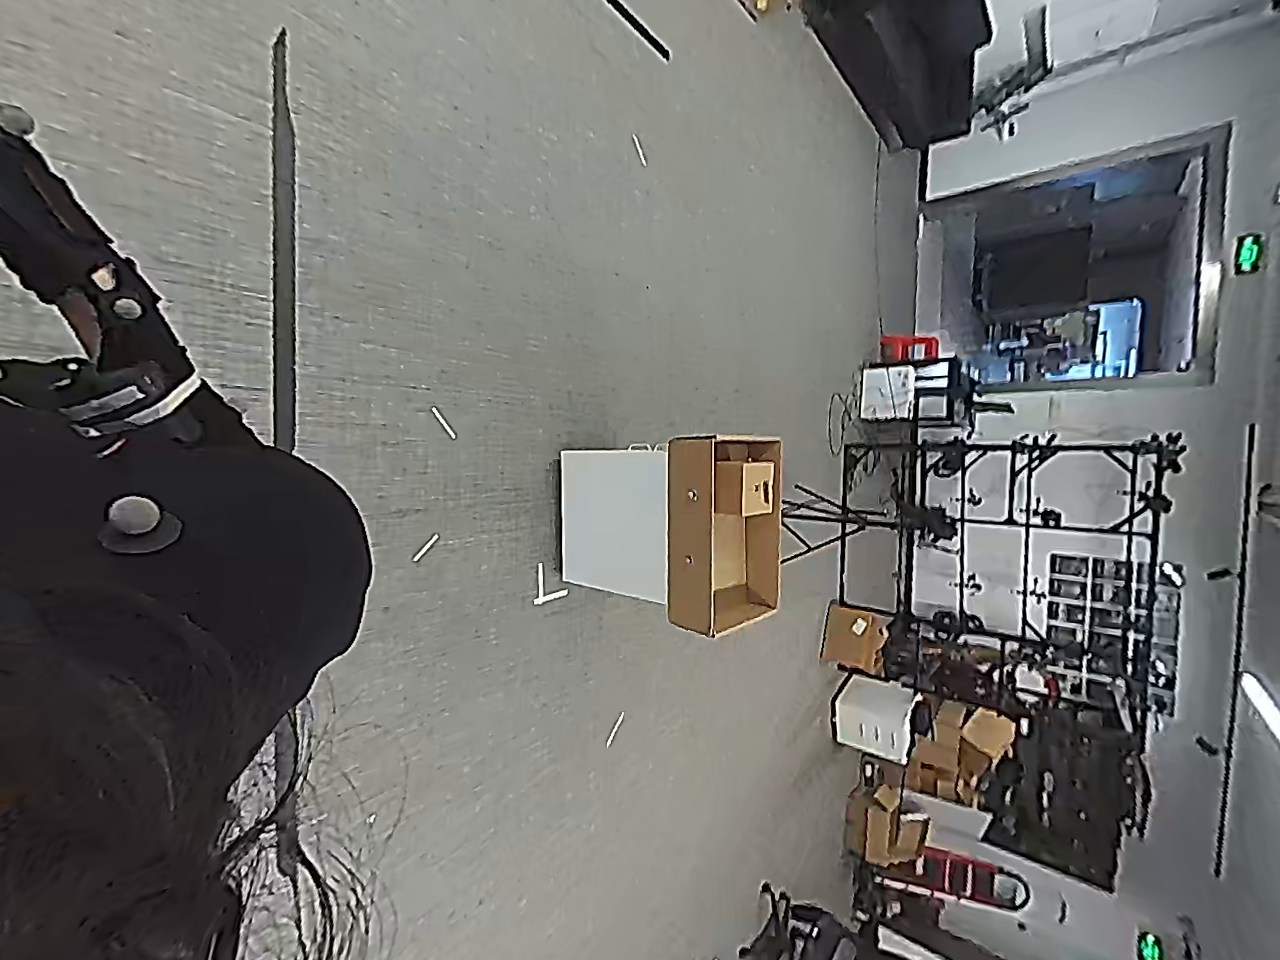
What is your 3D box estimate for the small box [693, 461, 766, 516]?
[{"bbox_3d":[0.294,0.023,1.776,0.179,0.176,0.168,-3,95,-45],"label":"small box"}]
